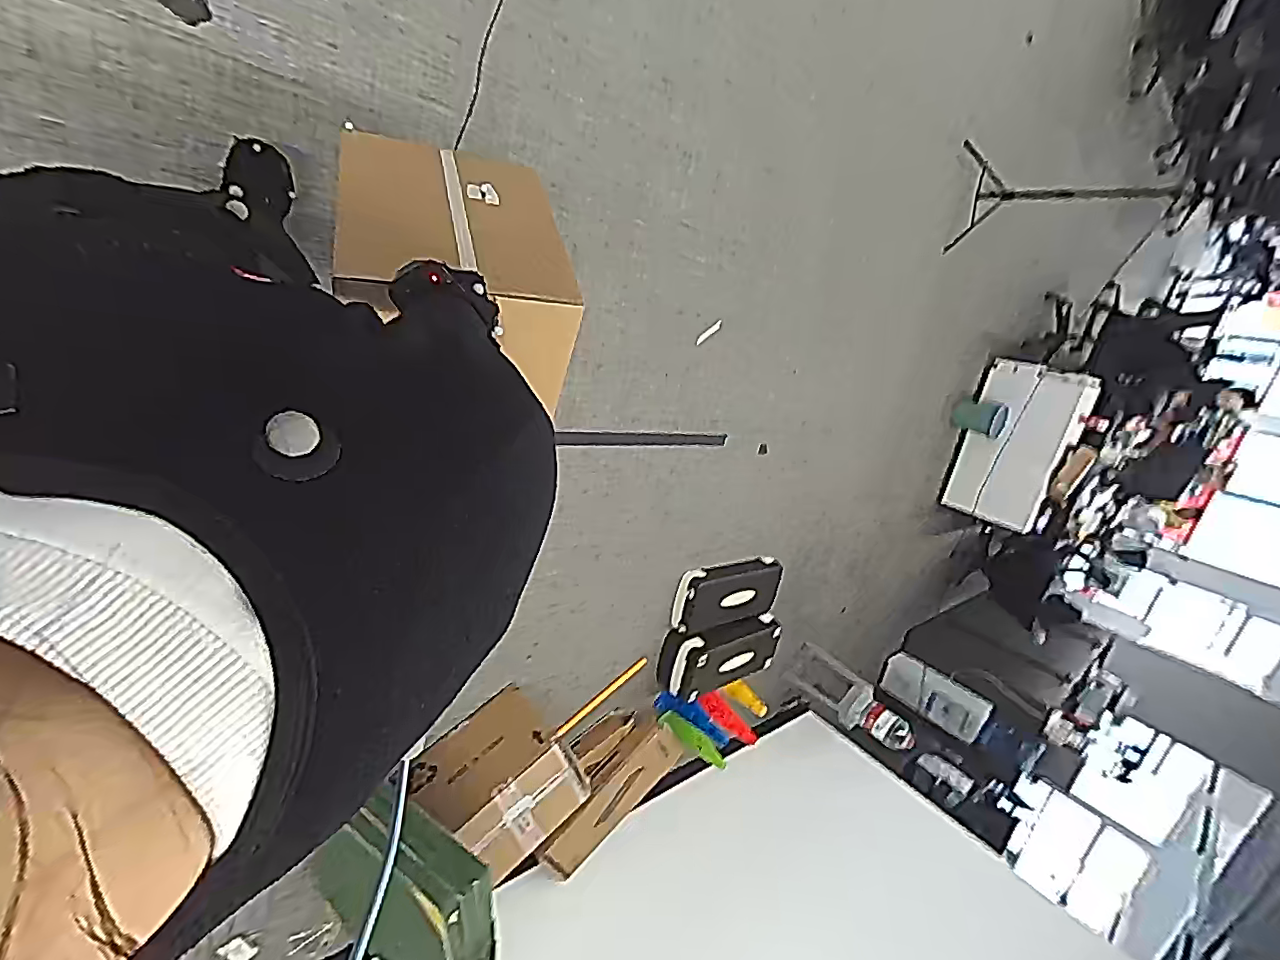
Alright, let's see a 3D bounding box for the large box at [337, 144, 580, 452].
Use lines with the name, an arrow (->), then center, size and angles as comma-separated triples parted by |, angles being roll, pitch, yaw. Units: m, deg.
large box -> -0.330, -0.296, 0.927 | 0.320, 0.408, 0.320 | -1, 141, -27
